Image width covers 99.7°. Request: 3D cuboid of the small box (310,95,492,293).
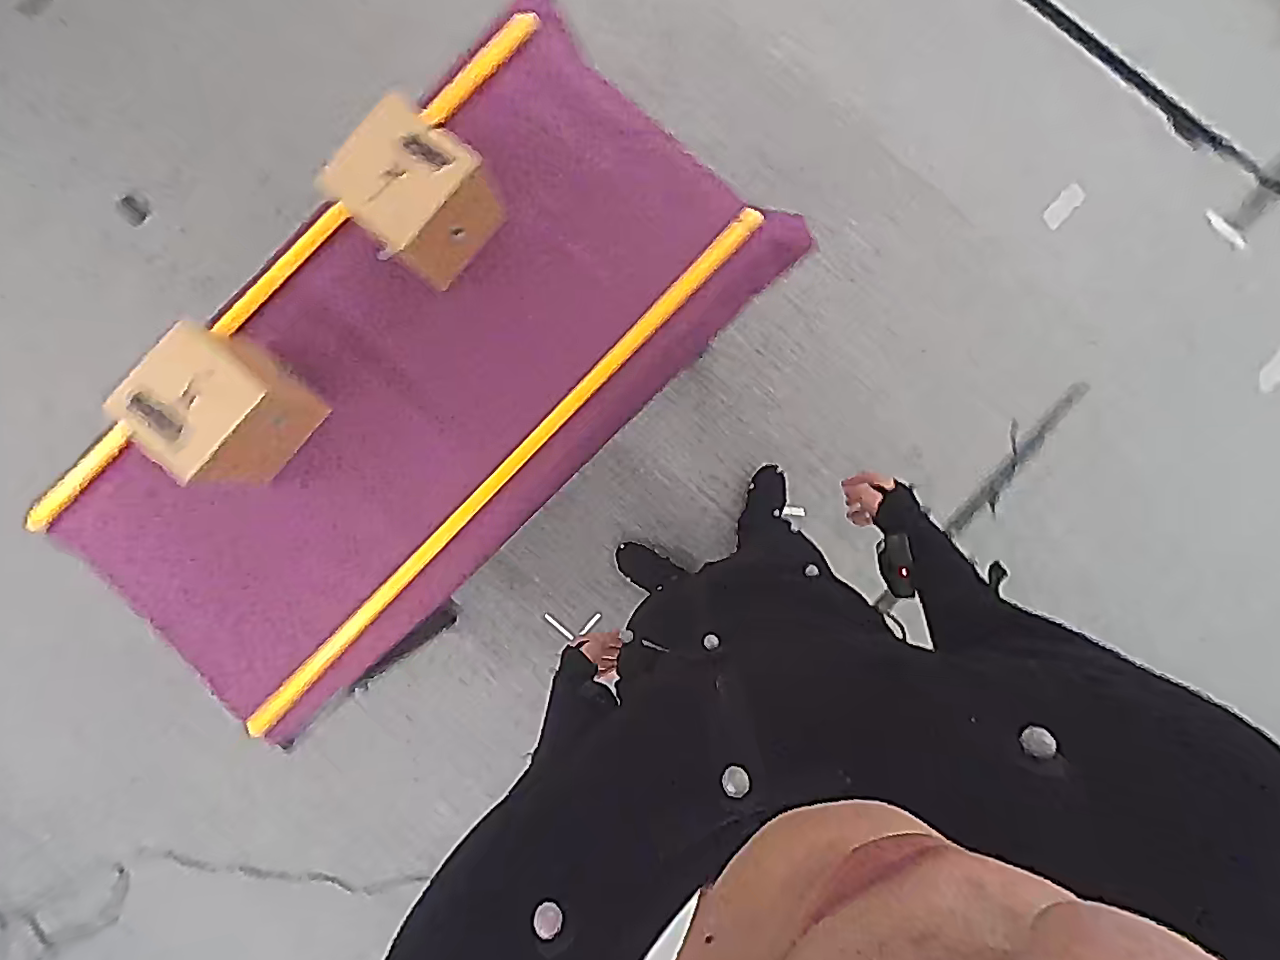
[{"bbox_3d":[-0.355,-0.432,0.848,0.168,0.176,0.179,39,90,1],"label":"small box"}]
